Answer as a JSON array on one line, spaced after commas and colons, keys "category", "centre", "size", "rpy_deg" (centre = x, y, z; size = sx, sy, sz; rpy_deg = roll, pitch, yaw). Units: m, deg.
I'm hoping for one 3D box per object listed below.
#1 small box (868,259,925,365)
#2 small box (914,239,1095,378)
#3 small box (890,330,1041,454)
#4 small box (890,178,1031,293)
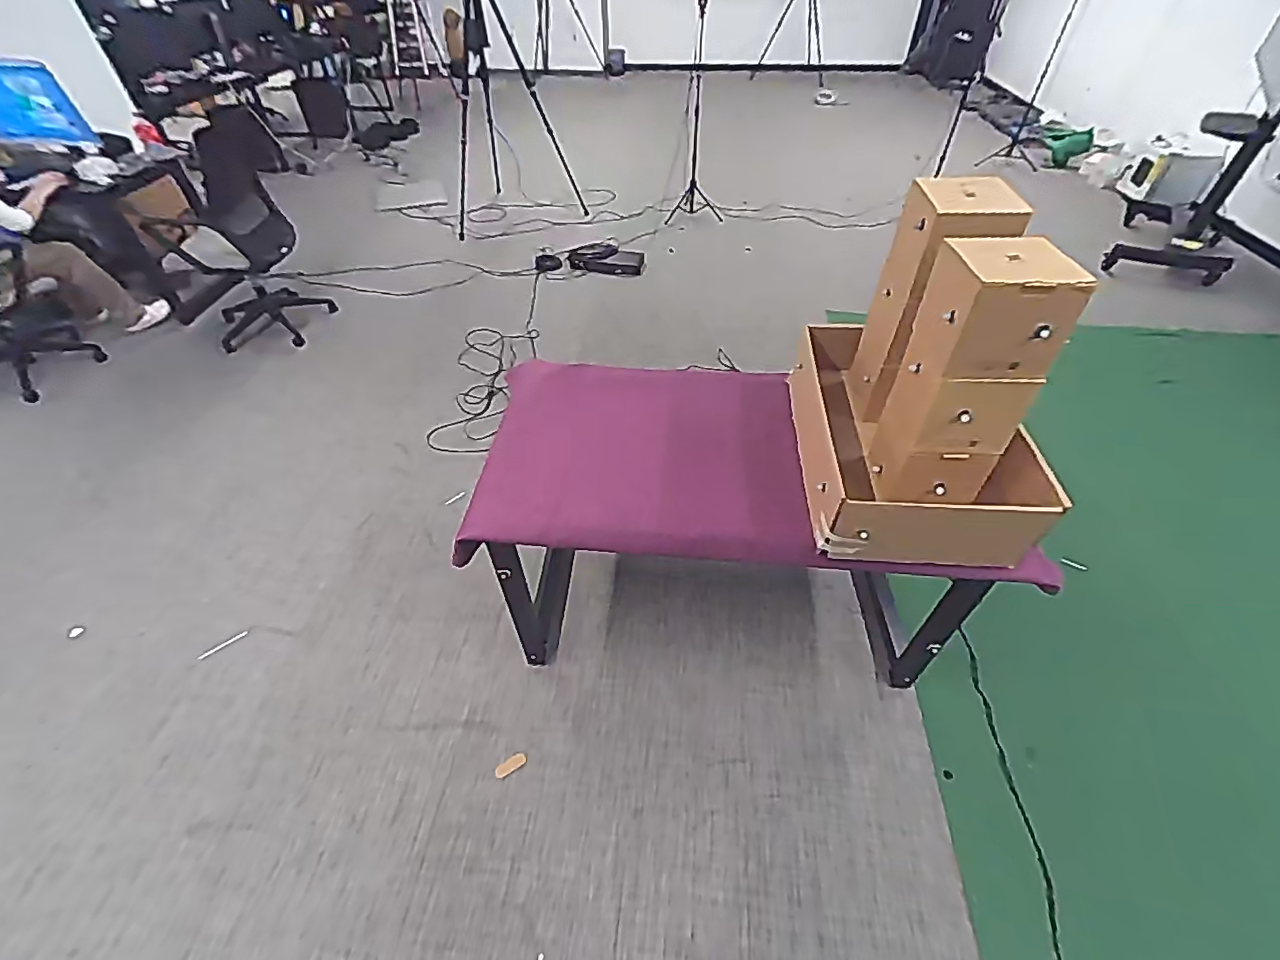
[{"category": "small box", "centre": [0.624, -0.371, 1.199], "size": [0.168, 0.176, 0.179], "rpy_deg": [1, 48, 4]}, {"category": "small box", "centre": [0.584, -0.282, 0.896], "size": [0.168, 0.176, 0.179], "rpy_deg": [2, 44, 4]}, {"category": "small box", "centre": [0.590, -0.164, 1.008], "size": [0.168, 0.176, 0.179], "rpy_deg": [2, 45, 5]}, {"category": "small box", "centre": [0.621, -0.480, 1.074], "size": [0.168, 0.176, 0.179], "rpy_deg": [3, 48, 4]}]
